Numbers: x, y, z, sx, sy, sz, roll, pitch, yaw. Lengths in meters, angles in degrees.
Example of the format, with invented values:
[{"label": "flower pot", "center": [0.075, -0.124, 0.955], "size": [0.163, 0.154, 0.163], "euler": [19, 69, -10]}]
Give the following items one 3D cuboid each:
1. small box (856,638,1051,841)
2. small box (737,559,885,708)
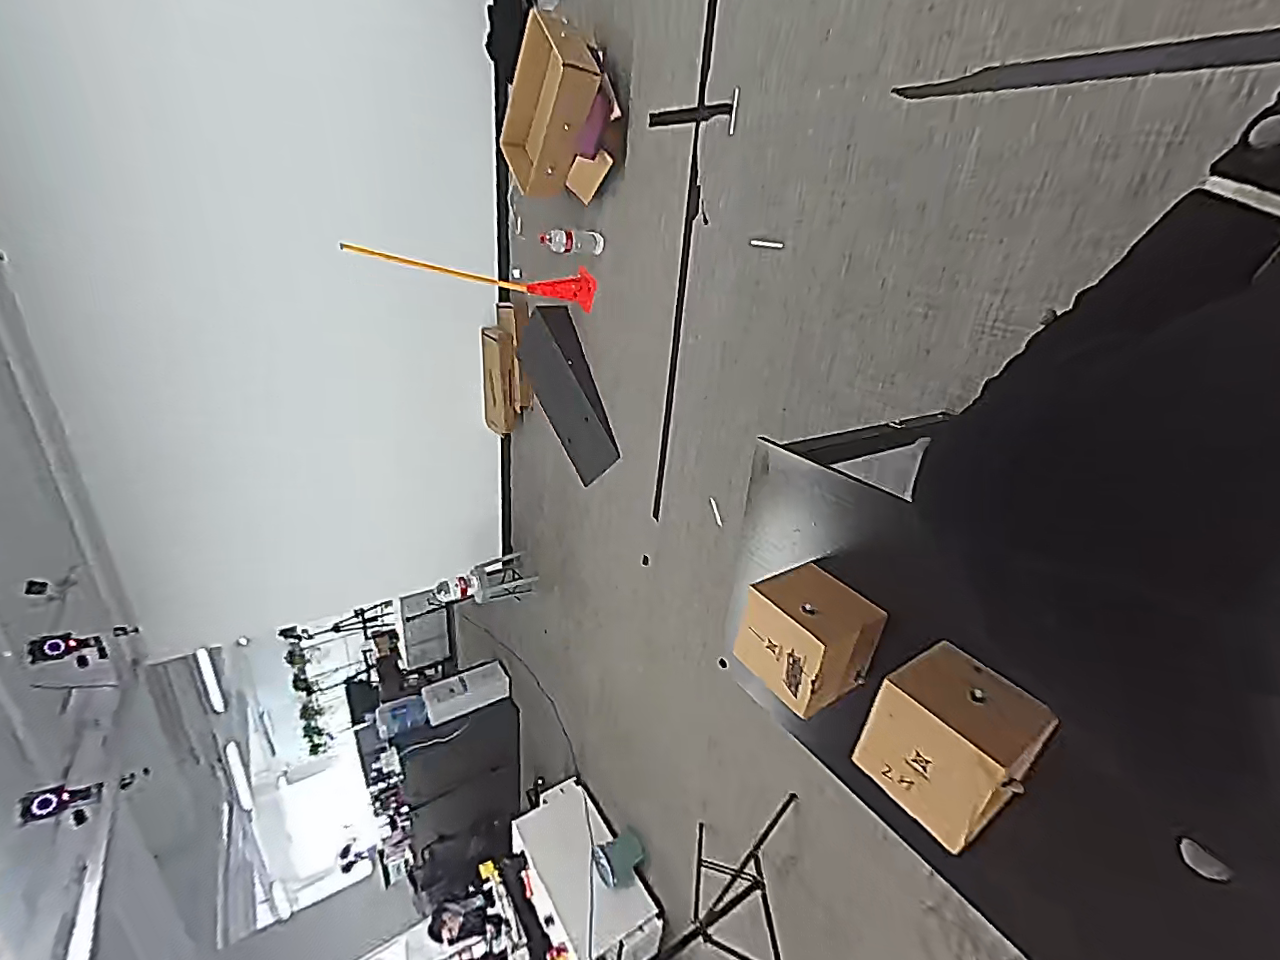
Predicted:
[{"label": "small box", "center": [0.455, 0.362, 0.788], "size": [0.168, 0.176, 0.179], "euler": [37, 130, 46]}, {"label": "small box", "center": [0.308, 0.266, 0.981], "size": [0.179, 0.176, 0.168], "euler": [38, 130, 46]}]
